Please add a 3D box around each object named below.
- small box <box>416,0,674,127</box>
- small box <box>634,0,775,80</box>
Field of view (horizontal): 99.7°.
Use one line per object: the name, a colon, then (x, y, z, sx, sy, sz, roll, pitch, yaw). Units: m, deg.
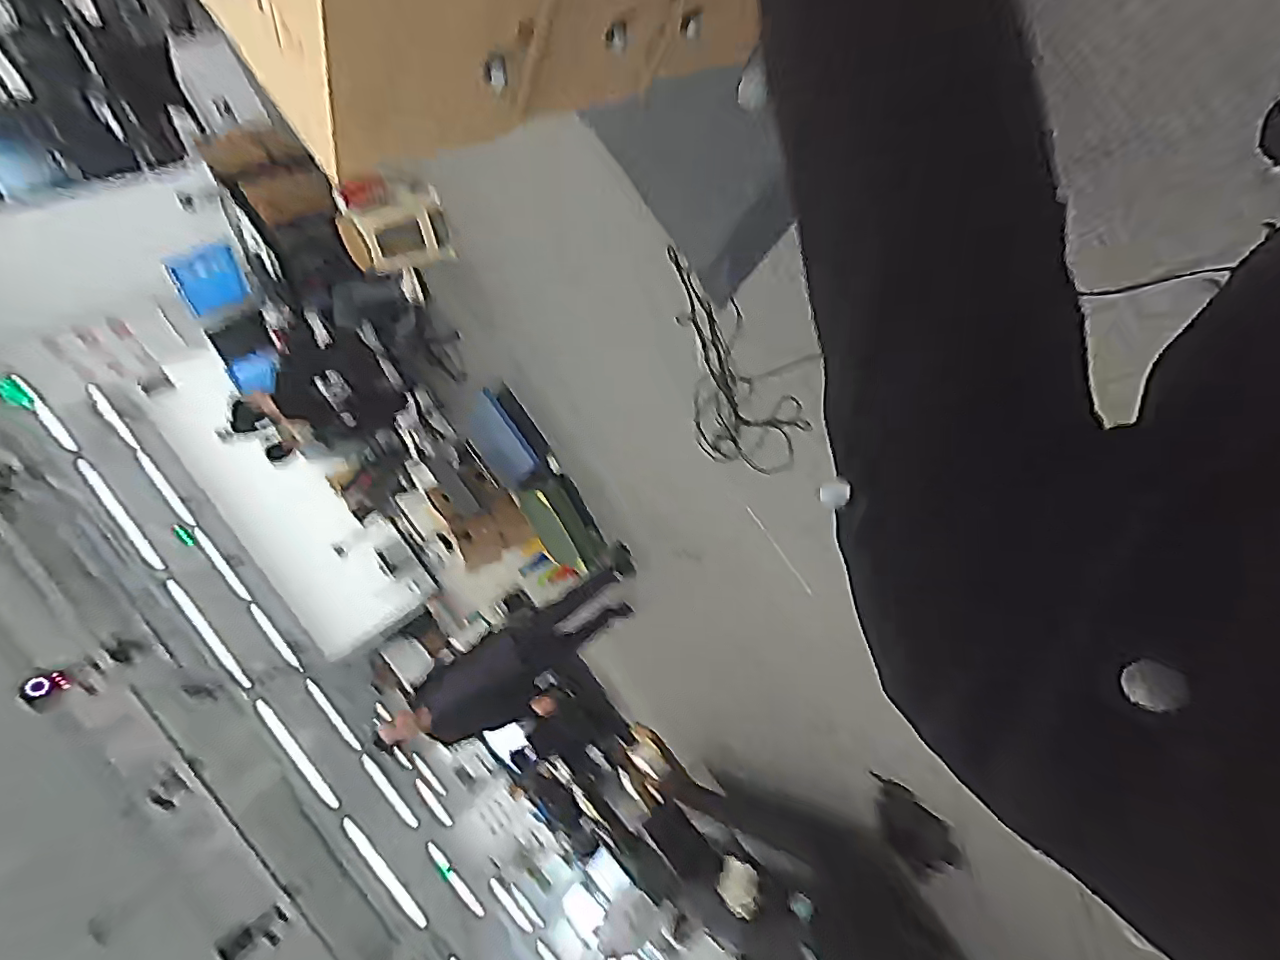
small box: (-0.075, -0.445, 0.446, 0.179, 0.176, 0.168, 54, 150, -1)
small box: (0.039, -0.537, 0.521, 0.179, 0.176, 0.168, 54, 151, 0)
